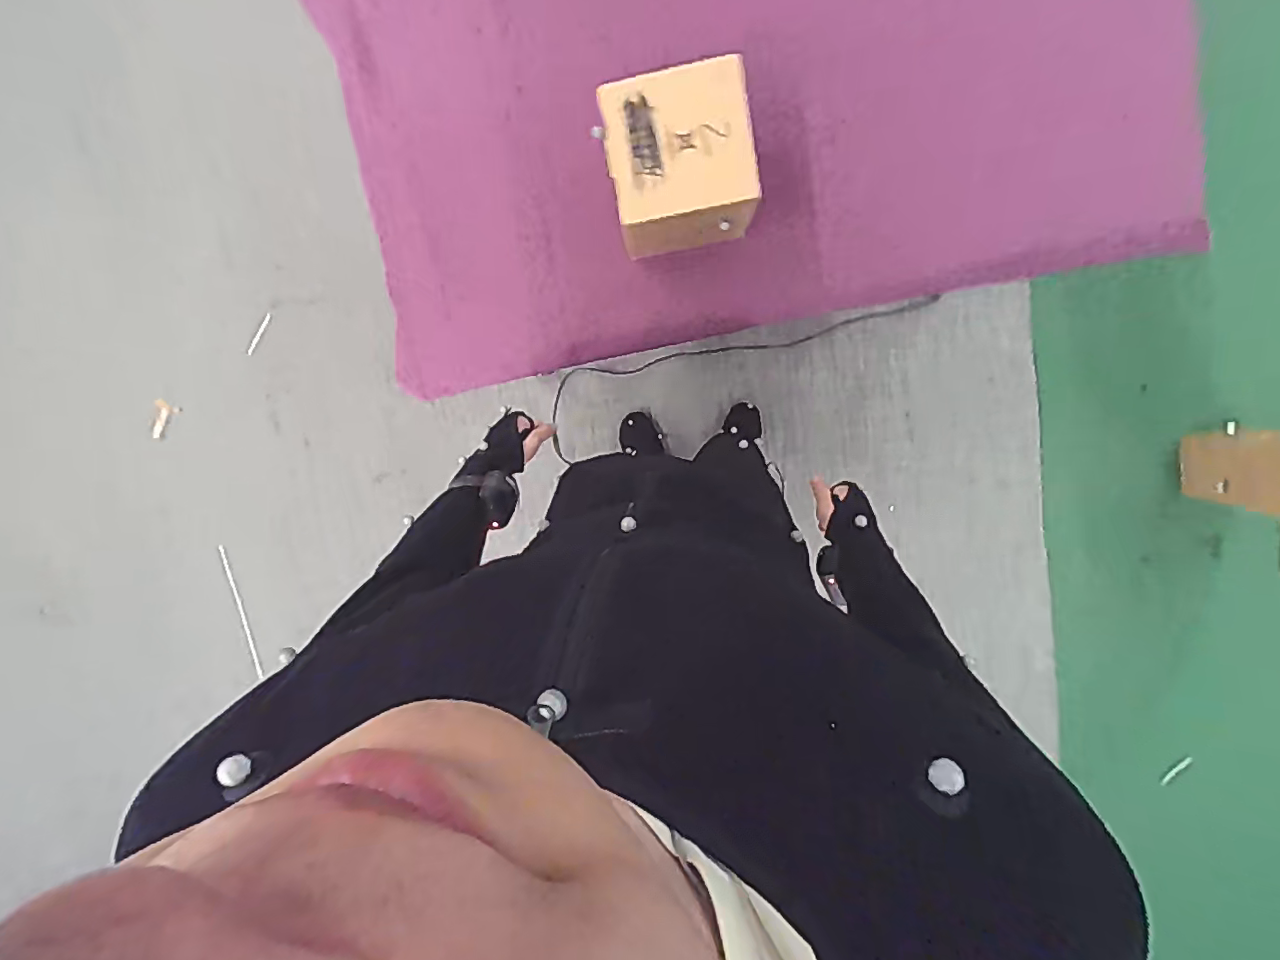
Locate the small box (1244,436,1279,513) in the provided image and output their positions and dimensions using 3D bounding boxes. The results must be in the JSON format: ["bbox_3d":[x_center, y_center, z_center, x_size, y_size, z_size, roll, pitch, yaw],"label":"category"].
[{"bbox_3d":[1.597,-0.013,1.274,0.168,0.176,0.179,-12,97,5],"label":"small box"}]

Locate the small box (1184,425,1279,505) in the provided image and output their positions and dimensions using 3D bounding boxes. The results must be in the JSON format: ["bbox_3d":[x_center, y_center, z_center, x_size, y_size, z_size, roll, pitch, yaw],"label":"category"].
[{"bbox_3d":[1.604,-0.043,1.434,0.168,0.176,0.179,-9,98,5],"label":"small box"}]
